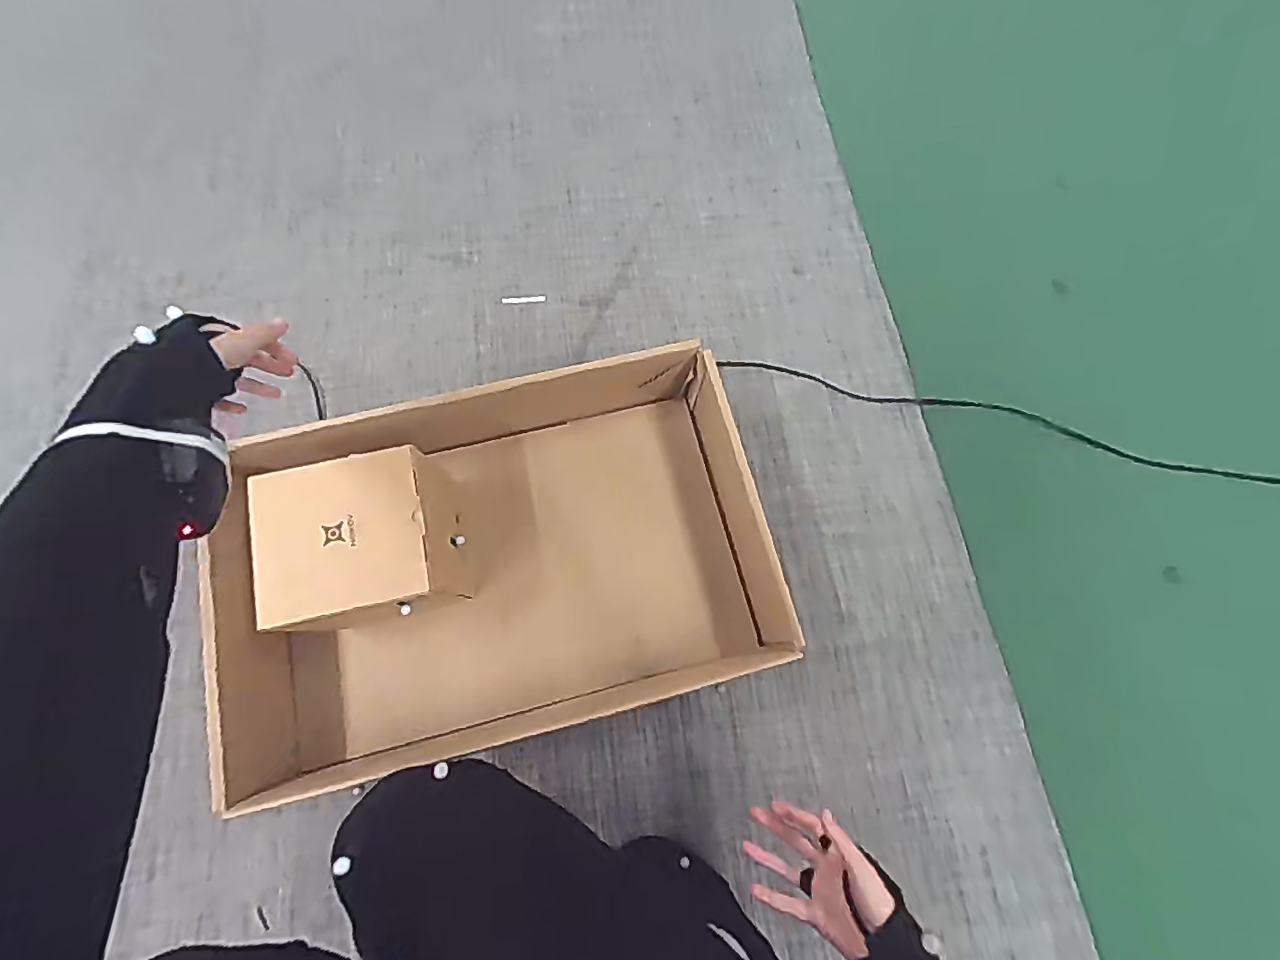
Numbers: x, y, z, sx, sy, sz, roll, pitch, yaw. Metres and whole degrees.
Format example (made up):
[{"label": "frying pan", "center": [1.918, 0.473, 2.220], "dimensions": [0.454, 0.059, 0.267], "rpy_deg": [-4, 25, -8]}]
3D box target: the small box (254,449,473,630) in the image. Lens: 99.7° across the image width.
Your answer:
[{"label": "small box", "center": [-0.320, 0.081, 0.650], "dimensions": [0.179, 0.176, 0.168], "rpy_deg": [-13, 76, -6]}]
